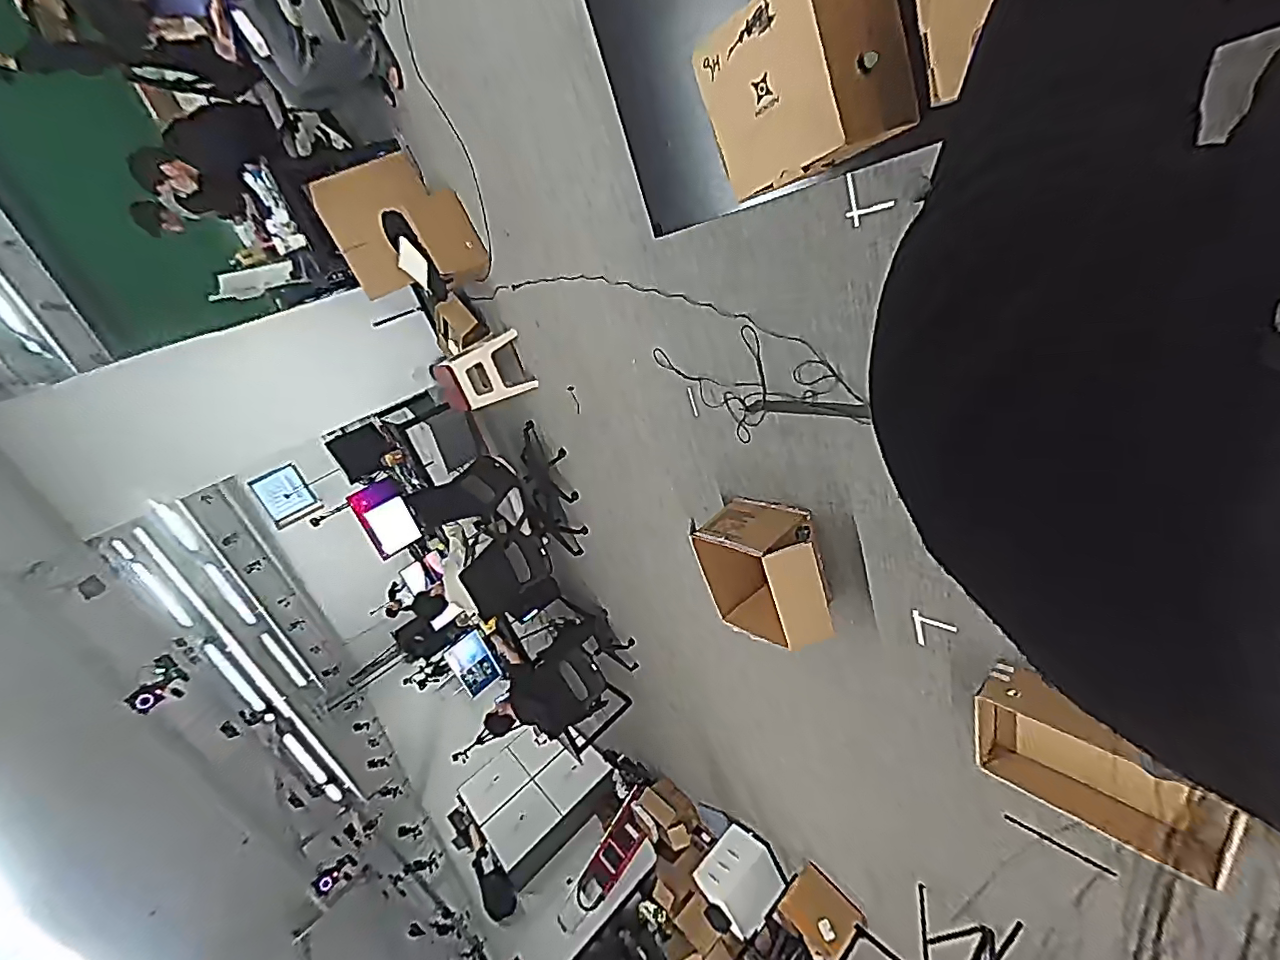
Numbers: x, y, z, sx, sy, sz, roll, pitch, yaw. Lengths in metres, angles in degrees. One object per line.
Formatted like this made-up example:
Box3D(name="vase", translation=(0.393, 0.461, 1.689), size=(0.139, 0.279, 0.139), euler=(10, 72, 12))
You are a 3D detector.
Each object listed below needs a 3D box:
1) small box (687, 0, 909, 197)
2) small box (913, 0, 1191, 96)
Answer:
Box3D(name="small box", translation=(0.193, -0.476, 0.646), size=(0.168, 0.176, 0.179), euler=(4, 123, 55))
Box3D(name="small box", translation=(0.348, -0.449, 0.442), size=(0.179, 0.176, 0.168), euler=(12, 129, 51))
